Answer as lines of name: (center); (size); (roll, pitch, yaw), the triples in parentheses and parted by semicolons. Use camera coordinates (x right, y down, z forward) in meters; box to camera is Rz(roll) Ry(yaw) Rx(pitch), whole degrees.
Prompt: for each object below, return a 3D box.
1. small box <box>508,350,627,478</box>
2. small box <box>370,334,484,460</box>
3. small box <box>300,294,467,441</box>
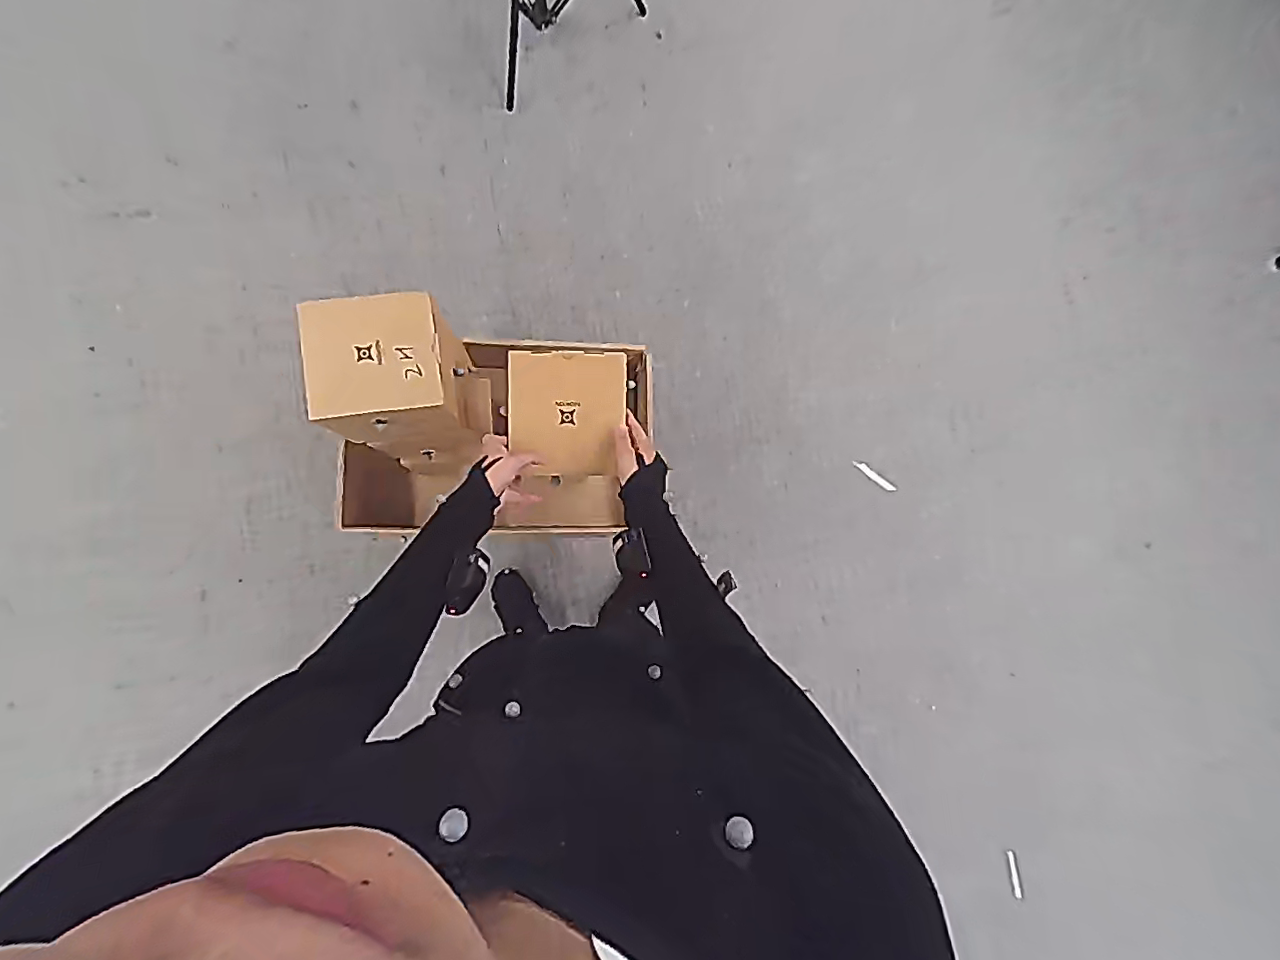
small box: (-0.106, -0.092, 0.830); (0.168, 0.176, 0.179); (0, 90, -5)
small box: (-0.383, -0.142, 0.970); (0.168, 0.176, 0.179); (-8, 85, -9)
small box: (-0.370, -0.158, 0.807); (0.179, 0.176, 0.168); (-8, 85, -9)
